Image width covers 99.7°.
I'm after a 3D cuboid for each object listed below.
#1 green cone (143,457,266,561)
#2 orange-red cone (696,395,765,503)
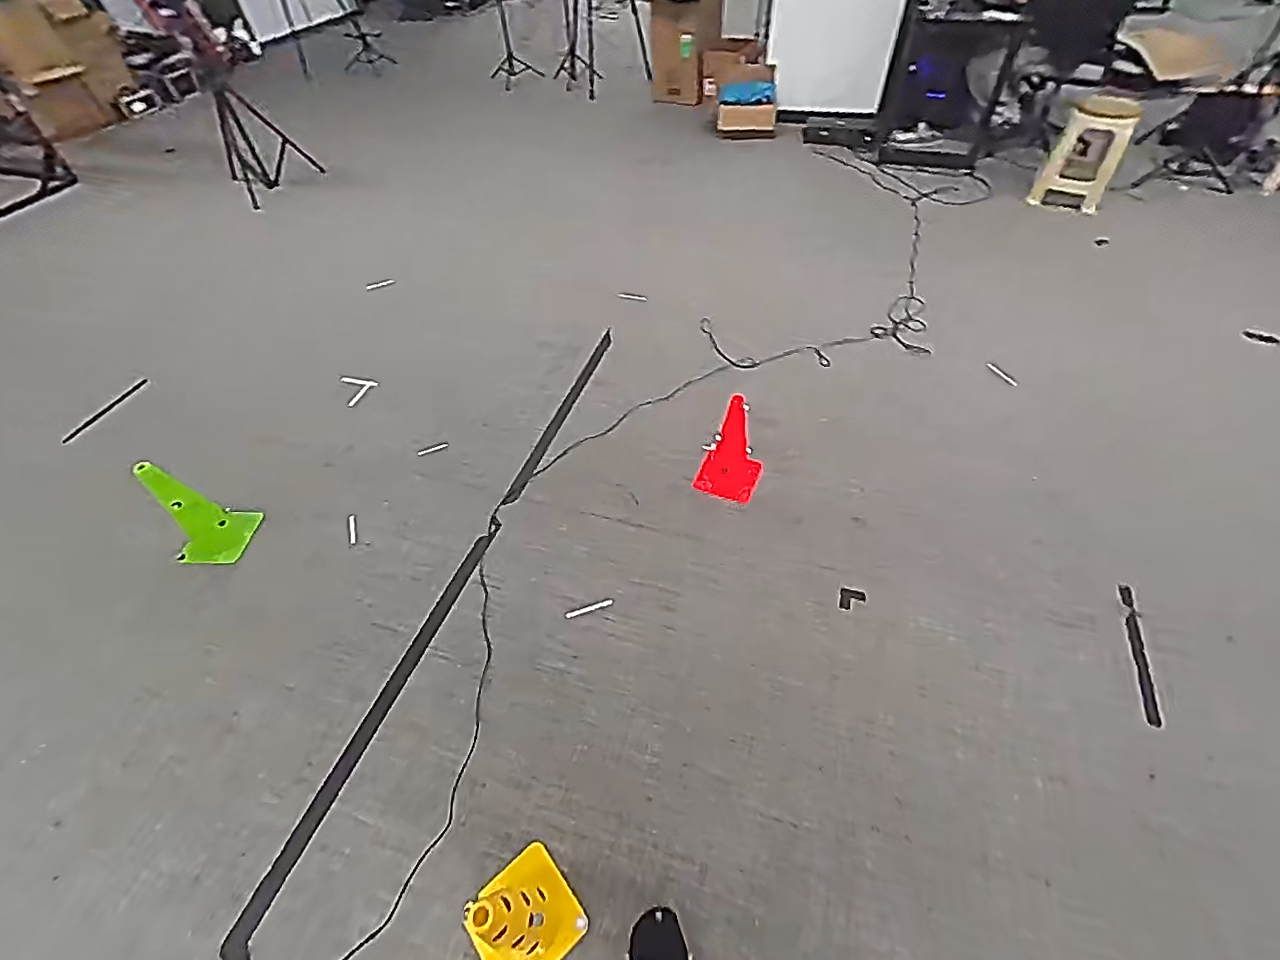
[{"bbox_3d":[-1.376,0.070,1.659,0.200,0.368,0.202,1,49,3],"label":"green cone"},{"bbox_3d":[0.301,-0.123,1.724,0.198,0.360,0.199,19,54,19],"label":"orange-red cone"}]
